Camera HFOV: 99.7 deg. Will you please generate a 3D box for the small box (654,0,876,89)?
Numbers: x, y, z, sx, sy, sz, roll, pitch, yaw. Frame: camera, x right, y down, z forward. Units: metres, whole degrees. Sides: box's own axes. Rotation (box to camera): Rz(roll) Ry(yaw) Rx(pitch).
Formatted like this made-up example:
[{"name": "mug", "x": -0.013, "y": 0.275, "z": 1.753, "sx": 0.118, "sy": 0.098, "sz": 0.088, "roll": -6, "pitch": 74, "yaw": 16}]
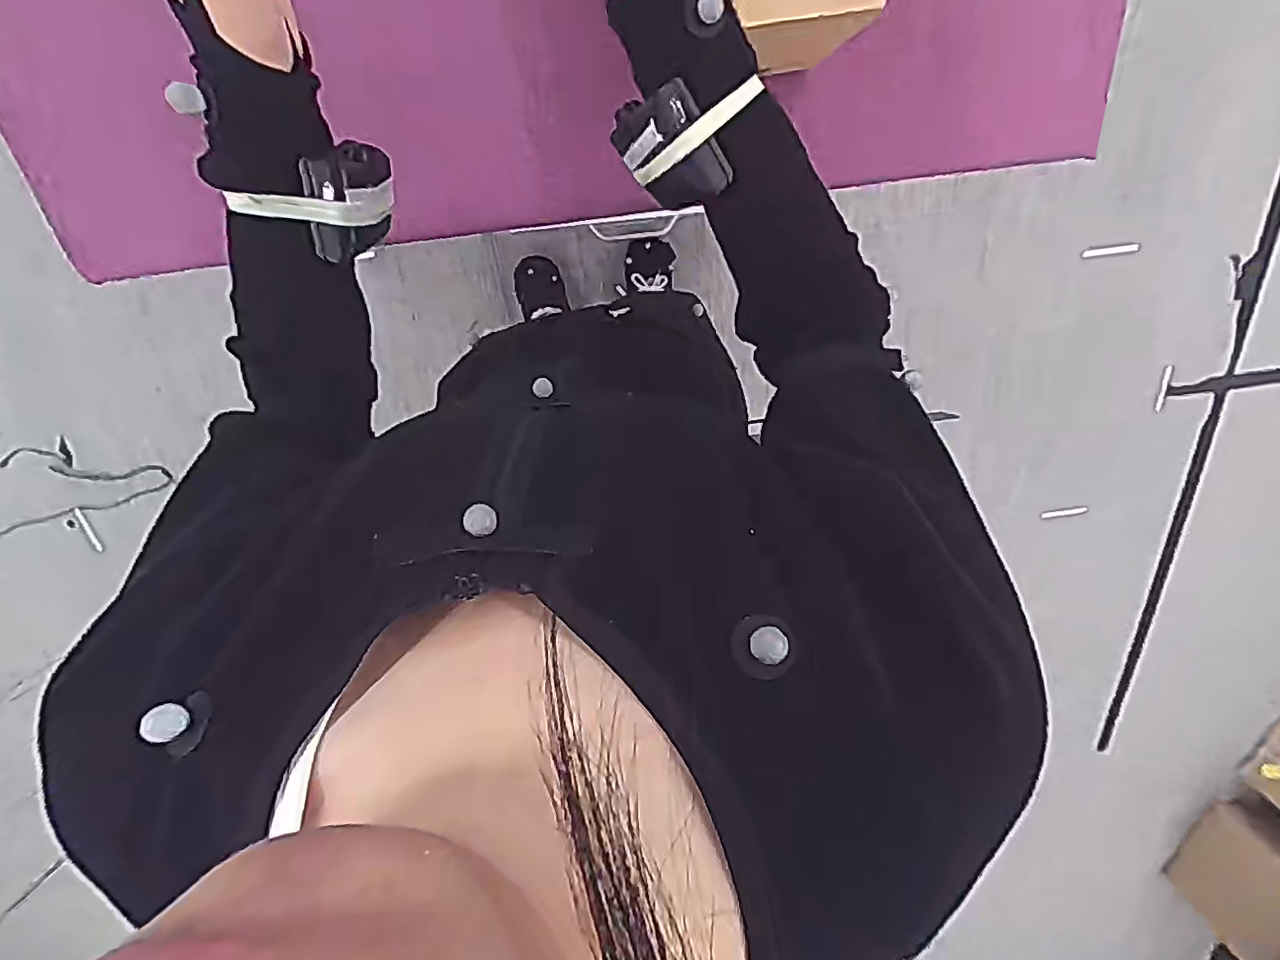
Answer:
[{"name": "small box", "x": 0.100, "y": -0.489, "z": 0.490, "sx": 0.168, "sy": 0.176, "sz": 0.179, "roll": -9, "pitch": 114, "yaw": -1}]
